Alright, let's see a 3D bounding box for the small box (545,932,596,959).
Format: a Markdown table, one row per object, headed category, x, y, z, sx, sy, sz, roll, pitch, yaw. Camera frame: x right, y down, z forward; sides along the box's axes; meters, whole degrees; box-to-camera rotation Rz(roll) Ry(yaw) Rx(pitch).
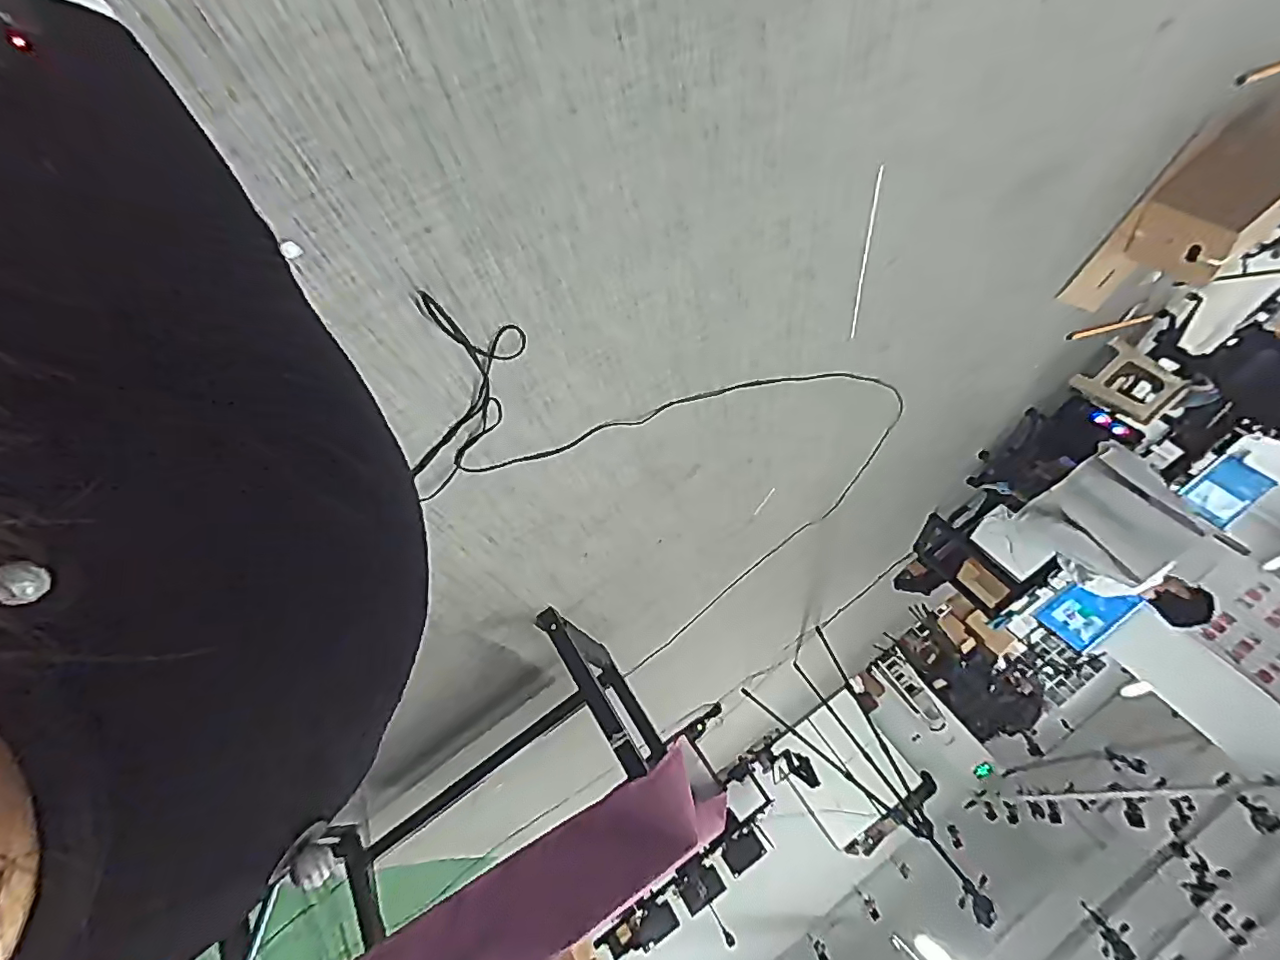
| category | x | y | z | sx | sy | sz | roll | pitch | yaw |
| --- | --- | --- | --- | --- | --- | --- | --- | --- | --- |
| small box | -0.186 | 1.243 | 1.299 | 0.179 | 0.176 | 0.168 | -33 | 149 | -9 |
